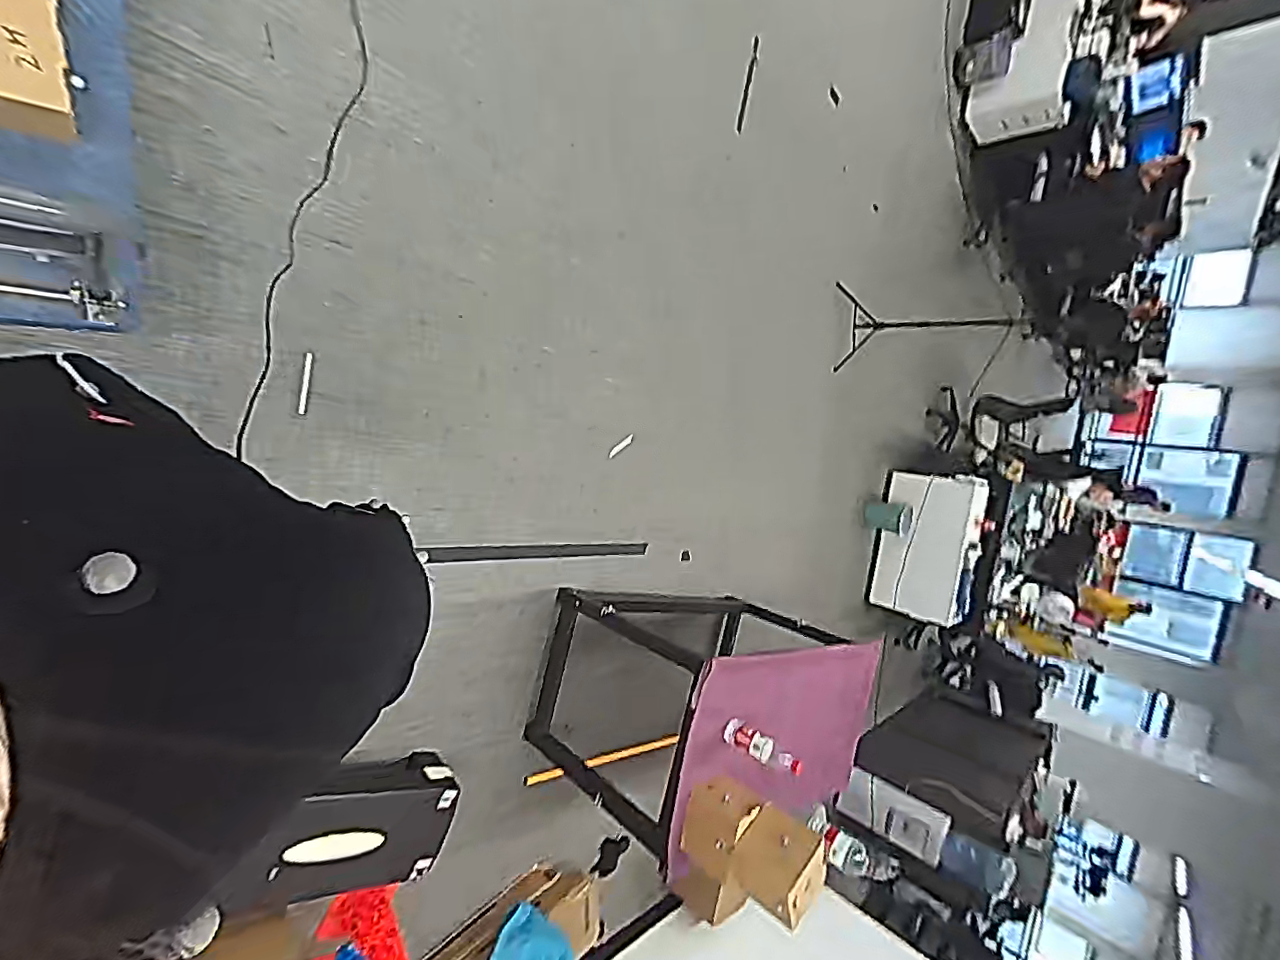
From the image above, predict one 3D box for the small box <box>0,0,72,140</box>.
[{"bbox_3d":[-0.922,-0.600,0.745,0.179,0.176,0.168,-8,105,-44],"label":"small box"}]
